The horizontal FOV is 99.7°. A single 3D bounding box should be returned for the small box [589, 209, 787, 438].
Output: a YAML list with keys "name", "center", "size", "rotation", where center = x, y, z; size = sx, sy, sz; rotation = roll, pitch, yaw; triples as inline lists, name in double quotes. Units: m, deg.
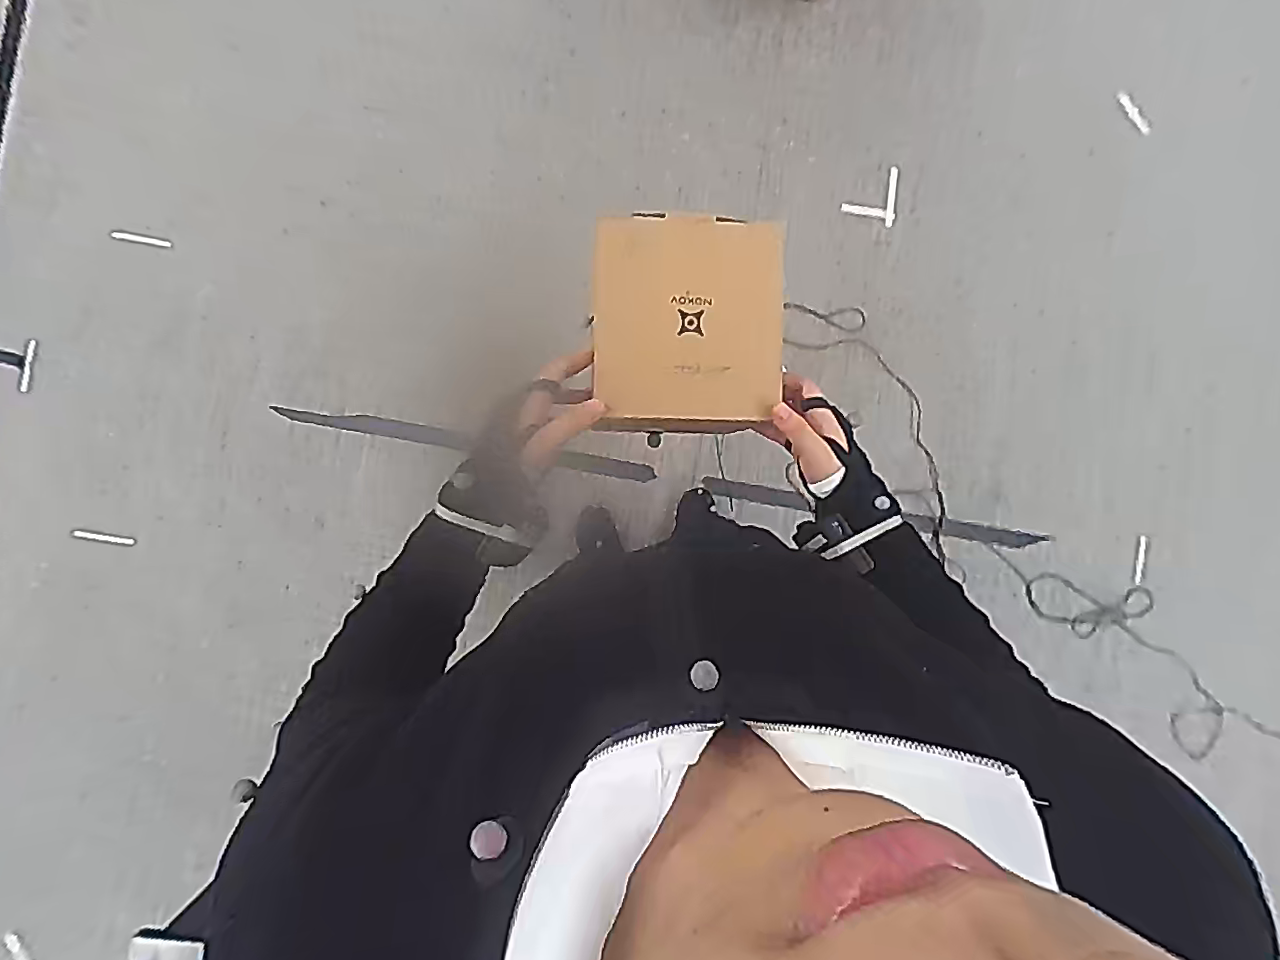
- name: "small box"
  center: [0.036, -0.139, 0.542]
  size: [0.168, 0.176, 0.179]
  rotation: [1, 90, -7]
